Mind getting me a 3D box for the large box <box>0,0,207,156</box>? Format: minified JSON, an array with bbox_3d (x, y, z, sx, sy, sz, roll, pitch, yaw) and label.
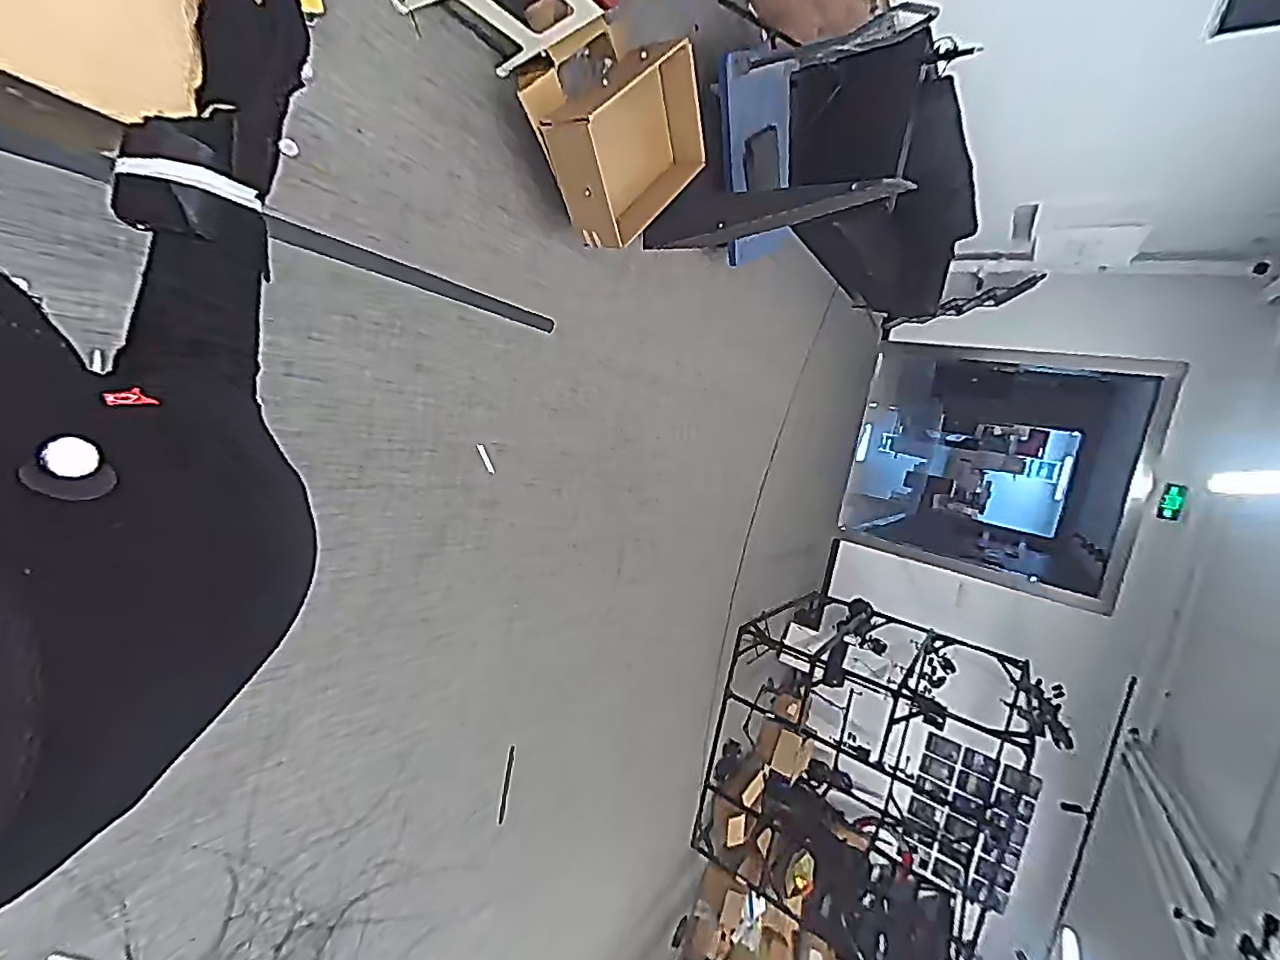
[{"bbox_3d":[-0.520,-0.424,0.278,0.408,0.320,0.320,1,107,-59],"label":"large box"}]
